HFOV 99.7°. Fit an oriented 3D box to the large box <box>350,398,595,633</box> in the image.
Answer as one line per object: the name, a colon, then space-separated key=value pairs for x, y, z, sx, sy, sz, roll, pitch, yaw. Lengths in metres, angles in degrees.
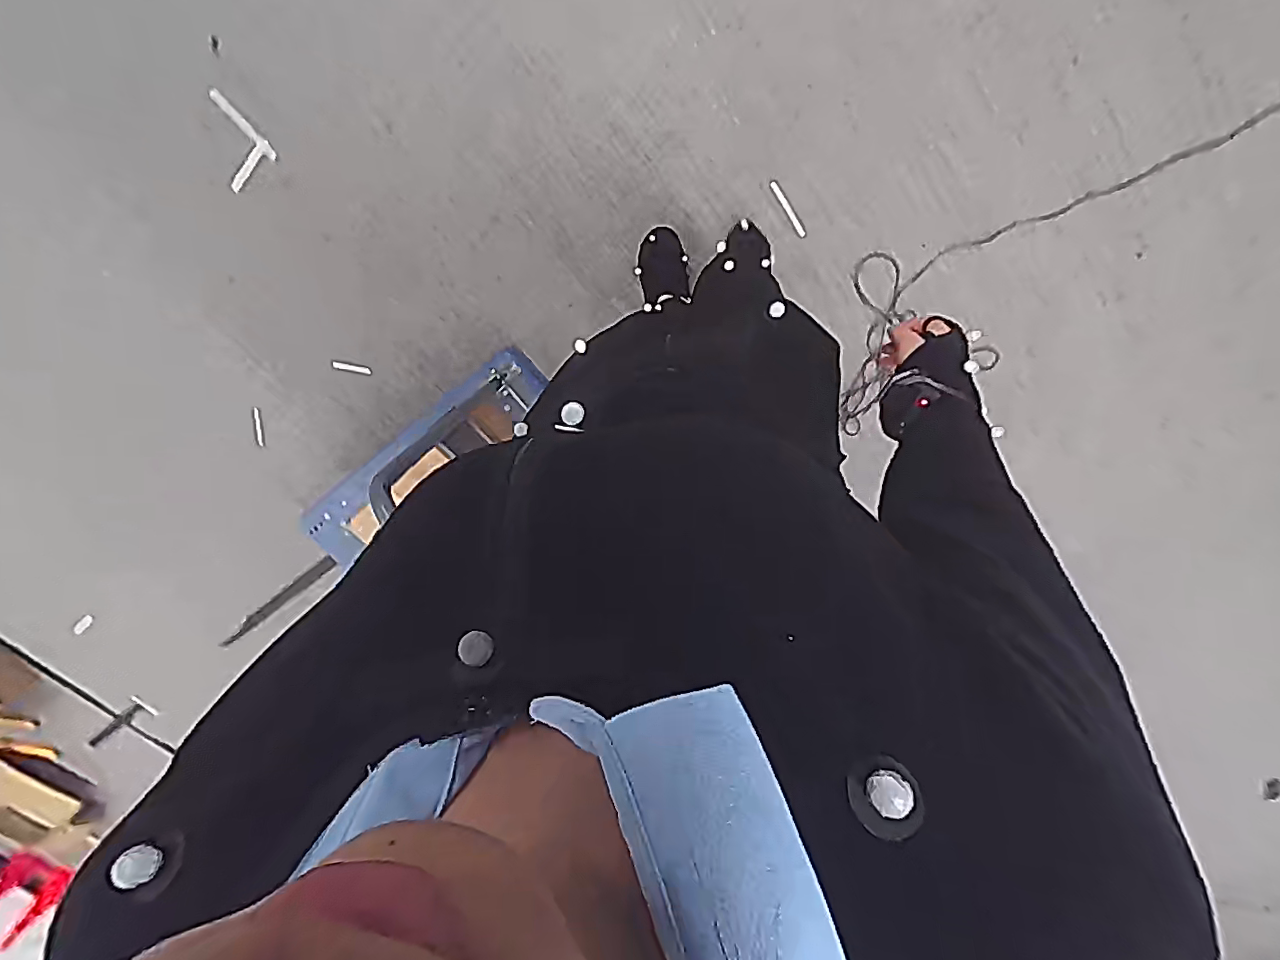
large box: x=-0.372 y=0.080 z=1.303 sx=0.320 sy=0.320 sz=0.408 roll=-36 pitch=107 yaw=20
